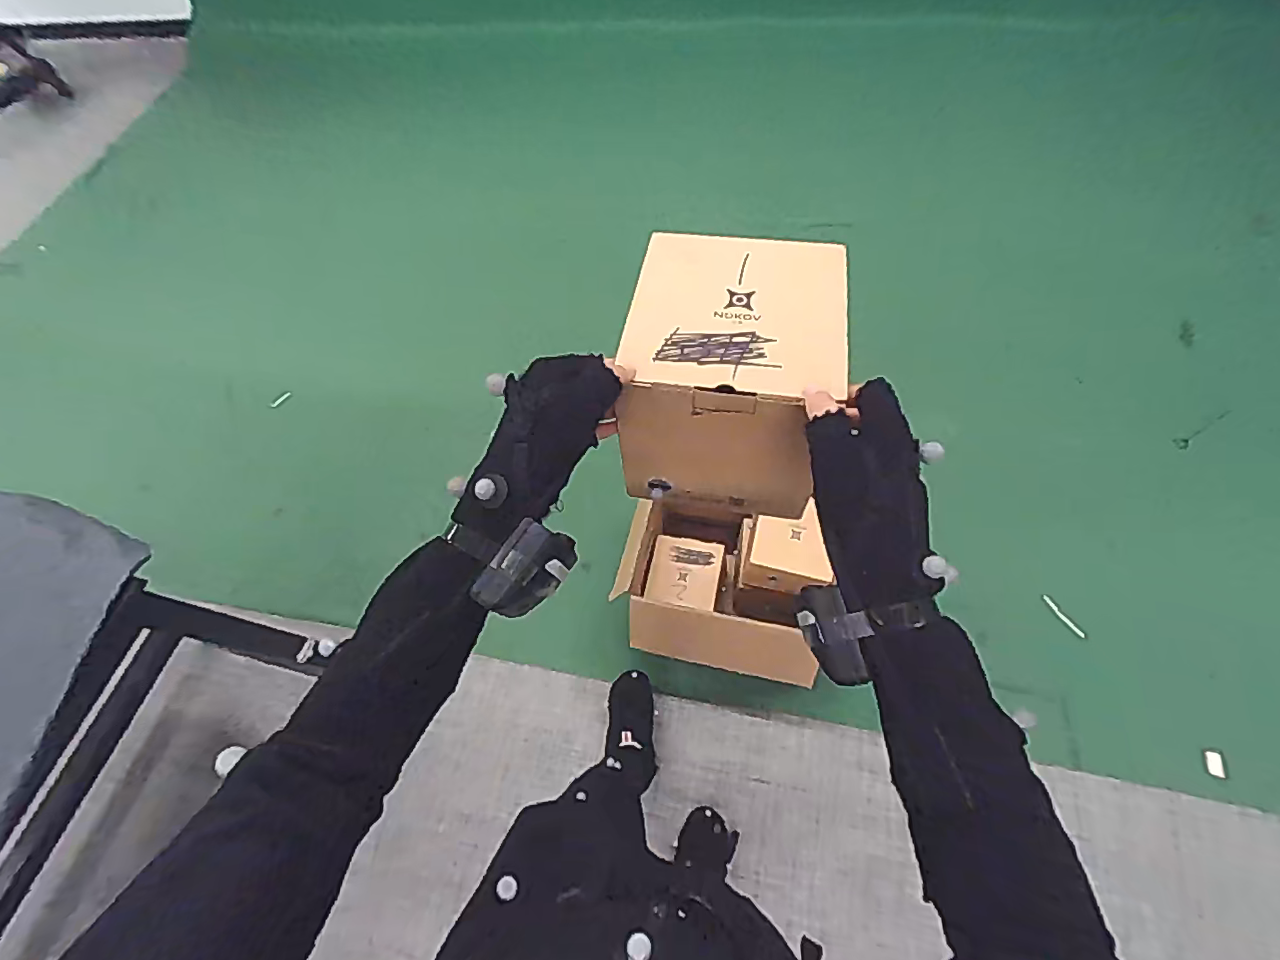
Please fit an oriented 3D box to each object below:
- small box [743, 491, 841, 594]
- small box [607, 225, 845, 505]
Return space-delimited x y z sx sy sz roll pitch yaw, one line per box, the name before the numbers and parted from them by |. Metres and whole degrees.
small box | 0.324 0.133 1.174 0.168 0.176 0.179 13 65 10
small box | 0.077 -0.096 0.480 0.168 0.176 0.179 8 58 9
